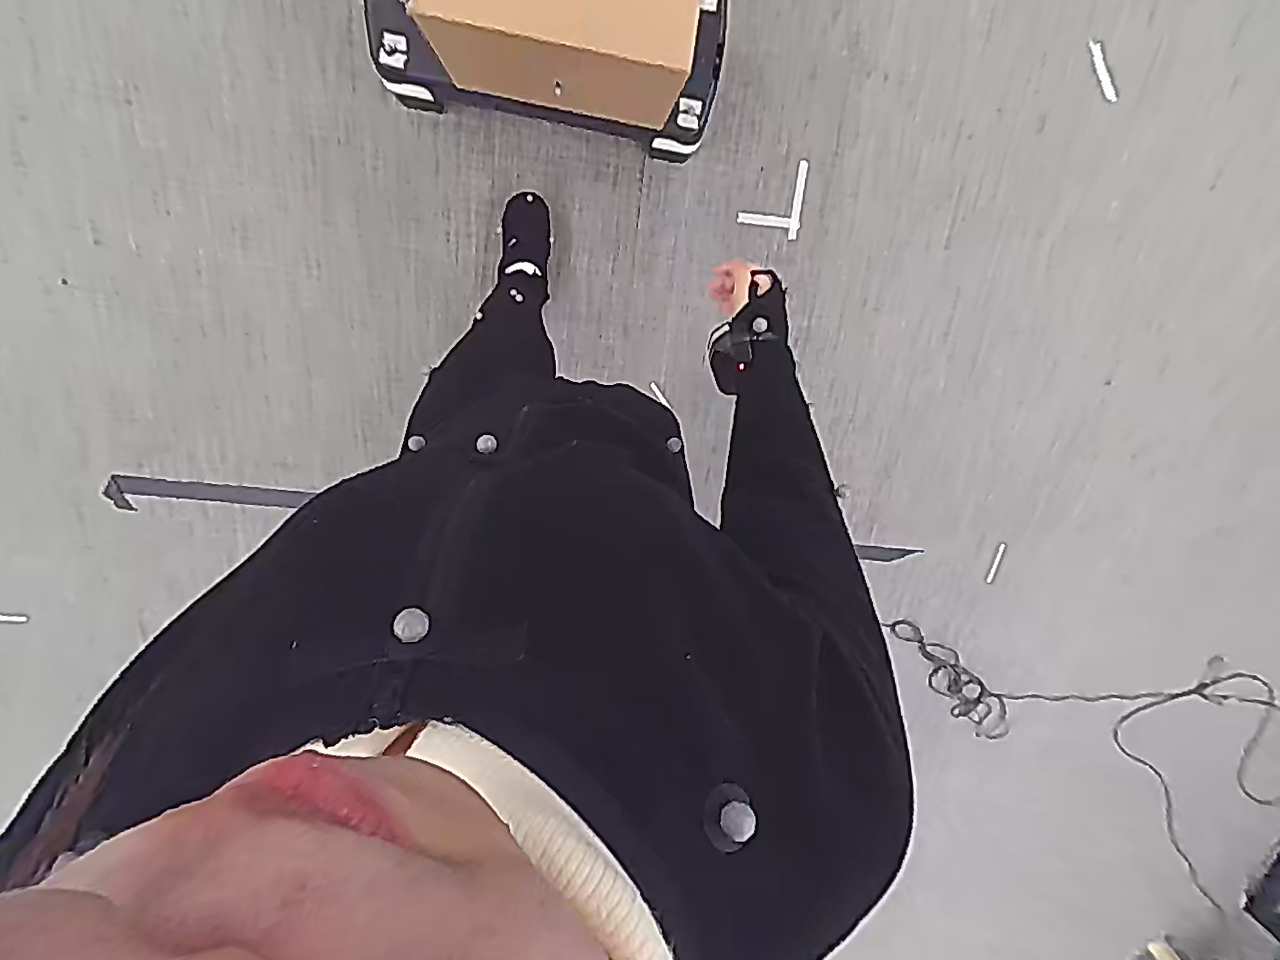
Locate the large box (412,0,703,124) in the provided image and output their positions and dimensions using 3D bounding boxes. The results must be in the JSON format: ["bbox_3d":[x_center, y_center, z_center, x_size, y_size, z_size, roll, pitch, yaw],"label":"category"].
[{"bbox_3d":[-0.109,-0.808,0.859,0.408,0.320,0.320,6,108,-7],"label":"large box"}]

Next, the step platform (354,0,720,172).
[{"bbox_3d":[-0.190,-0.874,1.081,0.684,0.204,0.286,11,107,-9],"label":"step platform"}]
